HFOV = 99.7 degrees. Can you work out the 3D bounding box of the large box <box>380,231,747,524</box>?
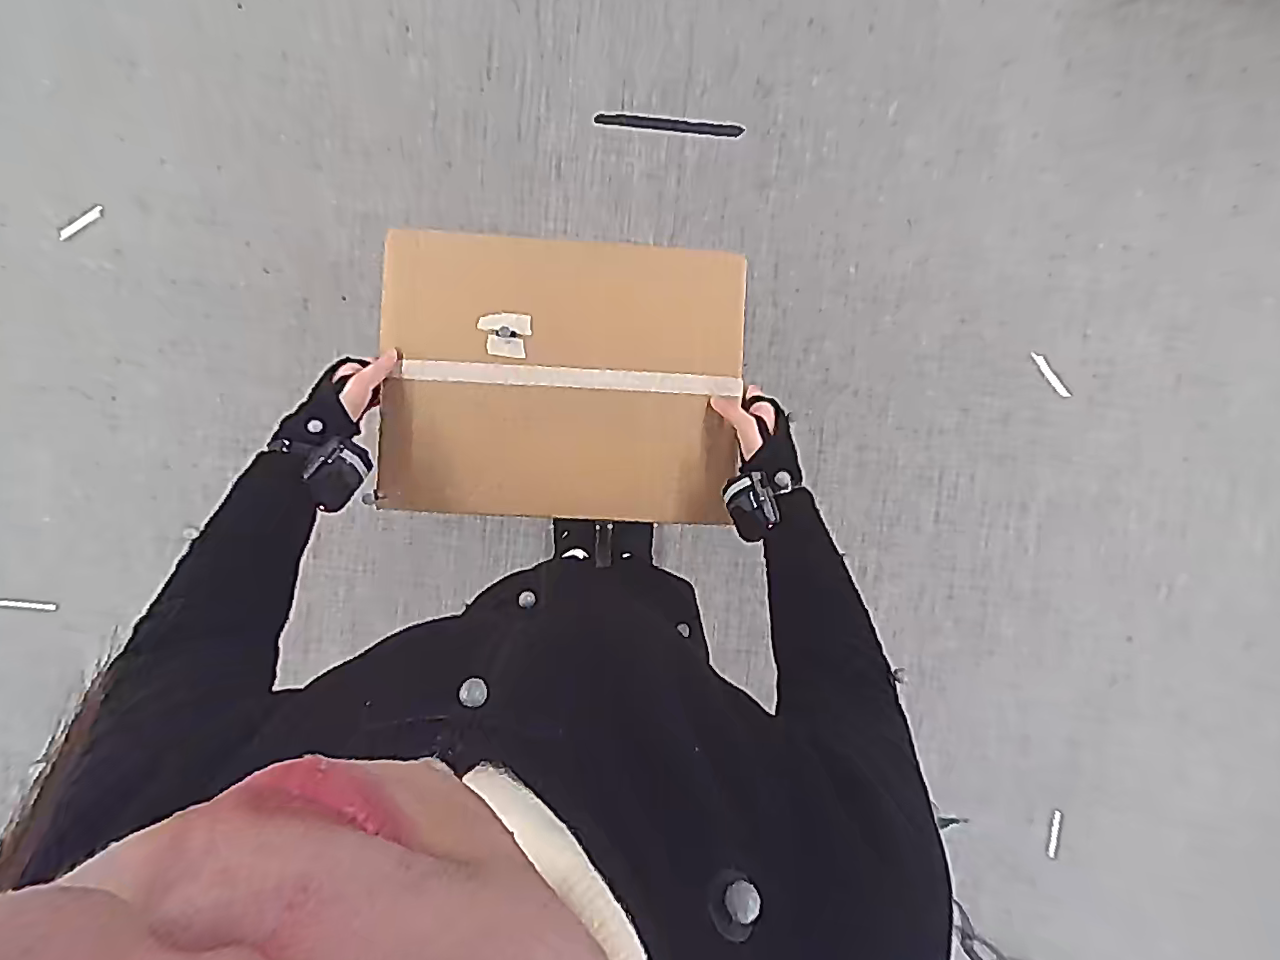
[{"bbox_3d":[-0.087,-0.117,0.744,0.408,0.320,0.320,3,91,-2],"label":"large box"}]
